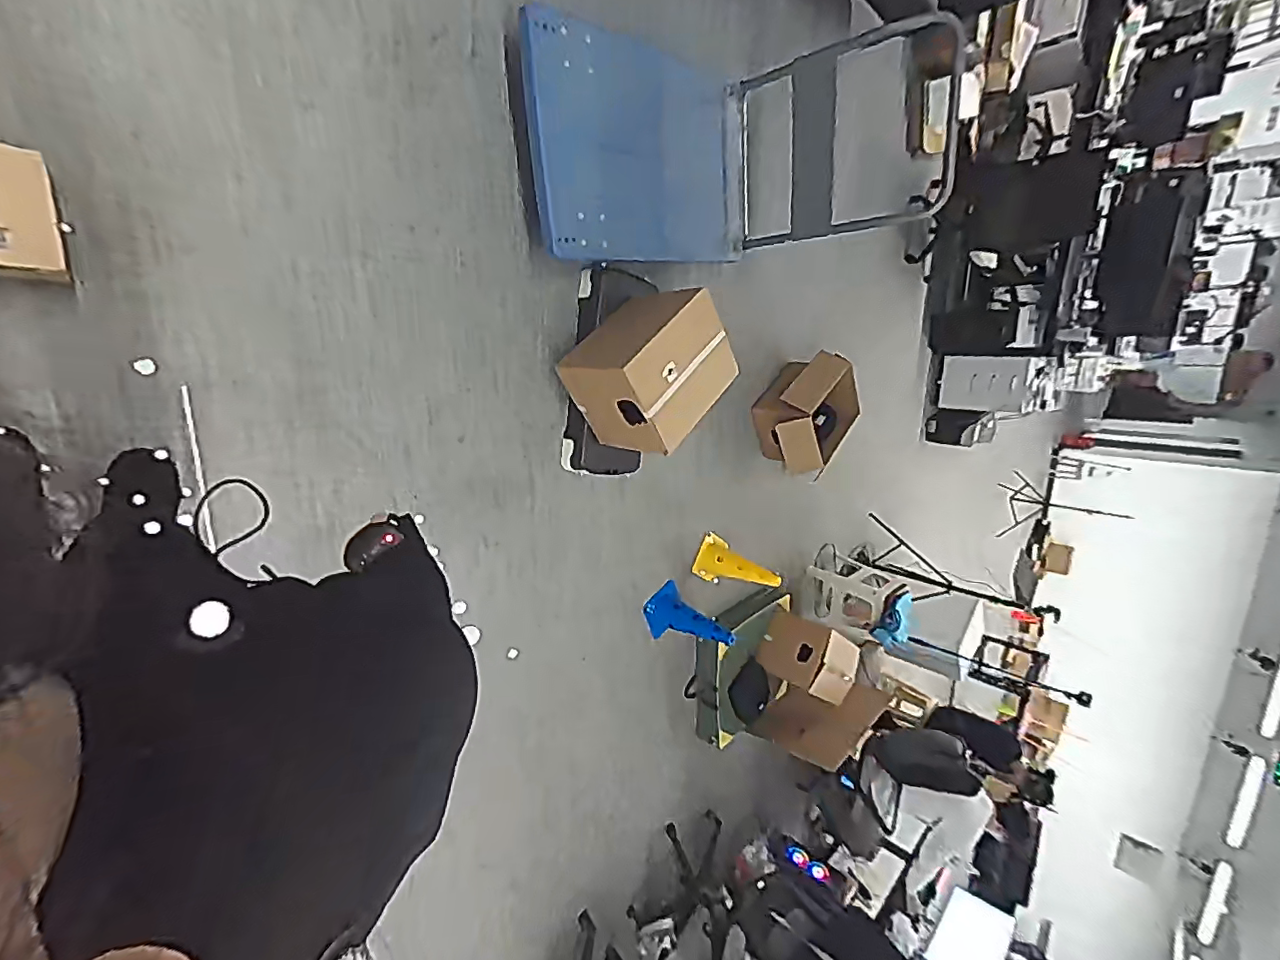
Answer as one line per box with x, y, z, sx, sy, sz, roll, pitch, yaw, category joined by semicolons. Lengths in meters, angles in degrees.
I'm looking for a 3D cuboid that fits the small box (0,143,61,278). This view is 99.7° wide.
-1.021;-0.414;0.827;0.168;0.176;0.179;-11;107;-44;small box
